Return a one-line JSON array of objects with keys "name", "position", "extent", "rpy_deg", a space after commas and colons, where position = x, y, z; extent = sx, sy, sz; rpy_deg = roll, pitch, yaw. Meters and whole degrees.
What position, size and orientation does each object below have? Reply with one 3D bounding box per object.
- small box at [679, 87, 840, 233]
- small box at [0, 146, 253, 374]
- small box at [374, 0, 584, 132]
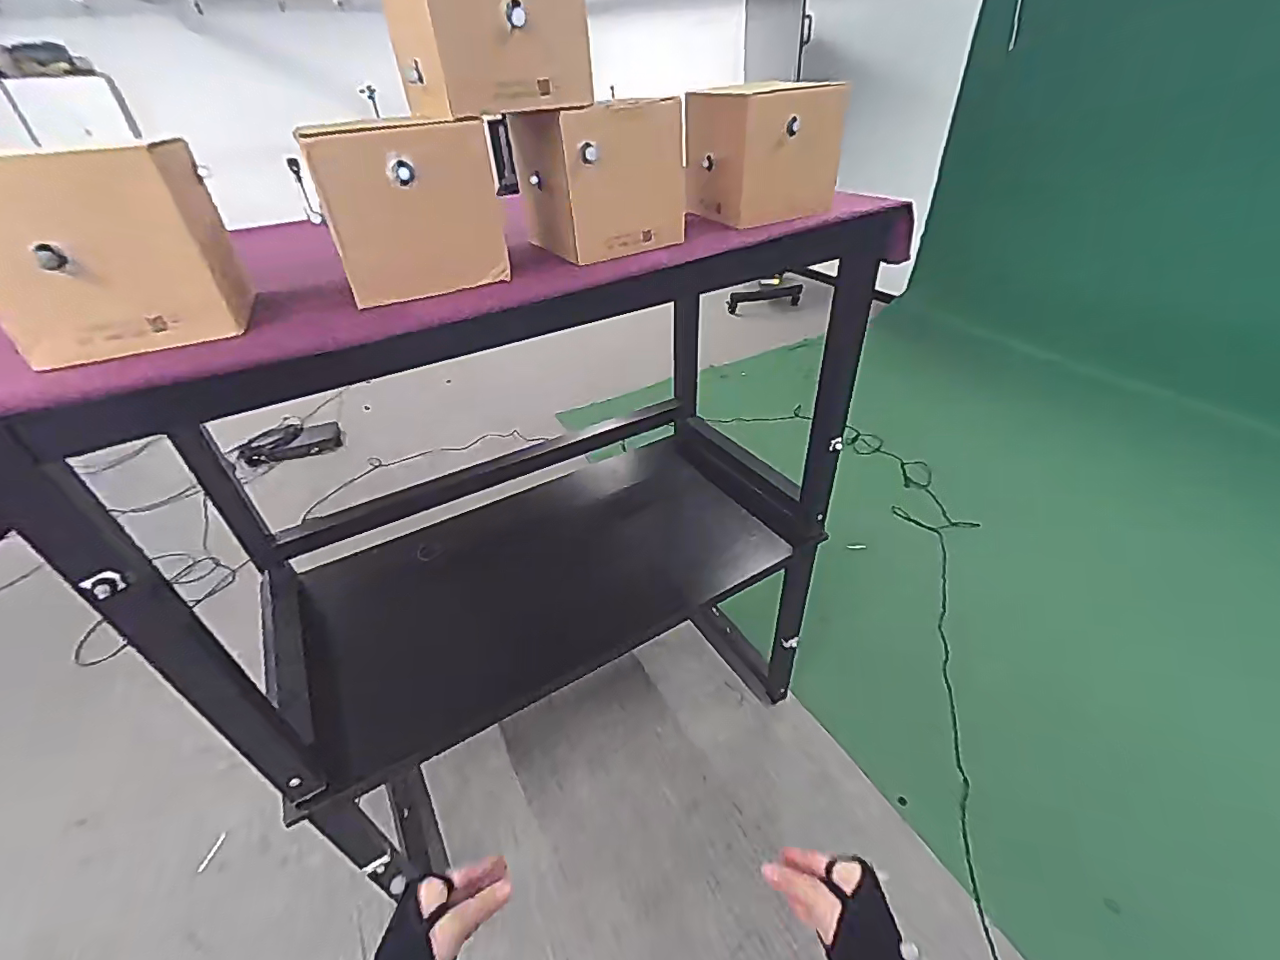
[{"name": "small box", "position": [0.176, -0.492, 0.831], "extent": [0.179, 0.176, 0.168], "rpy_deg": [-20, 41, -19]}, {"name": "small box", "position": [-0.514, -0.217, 0.531], "extent": [0.168, 0.176, 0.179], "rpy_deg": [-19, 38, -20]}, {"name": "small box", "position": [-0.175, -0.486, 0.586], "extent": [0.168, 0.176, 0.179], "rpy_deg": [-24, 41, -24]}]
